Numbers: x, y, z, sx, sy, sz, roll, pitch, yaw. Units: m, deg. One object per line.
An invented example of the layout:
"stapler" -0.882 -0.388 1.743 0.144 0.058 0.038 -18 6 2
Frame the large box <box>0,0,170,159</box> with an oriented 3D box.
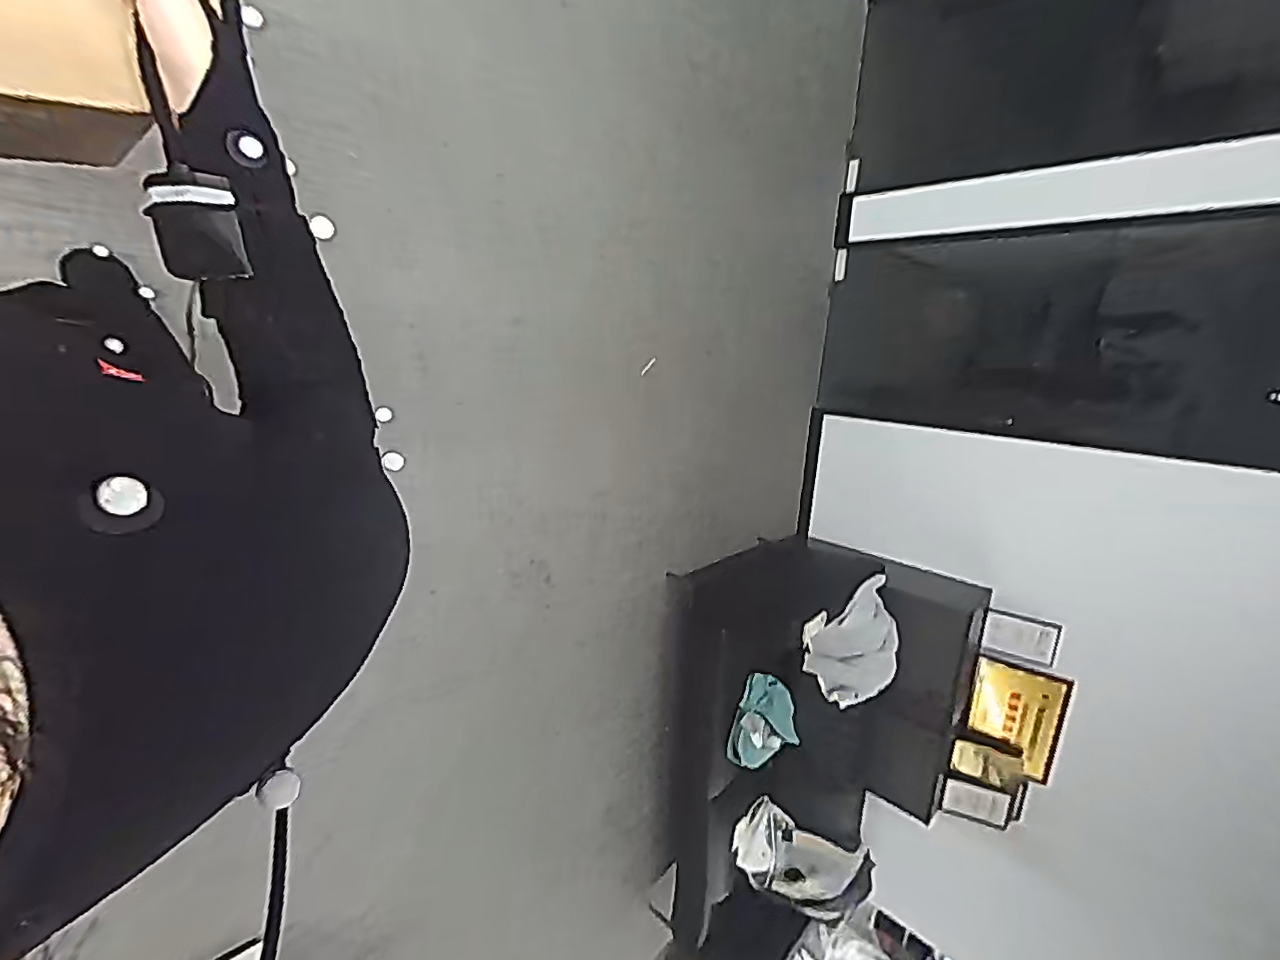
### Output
"large box" -0.558 -0.369 0.264 0.408 0.320 0.320 -22 122 -43
